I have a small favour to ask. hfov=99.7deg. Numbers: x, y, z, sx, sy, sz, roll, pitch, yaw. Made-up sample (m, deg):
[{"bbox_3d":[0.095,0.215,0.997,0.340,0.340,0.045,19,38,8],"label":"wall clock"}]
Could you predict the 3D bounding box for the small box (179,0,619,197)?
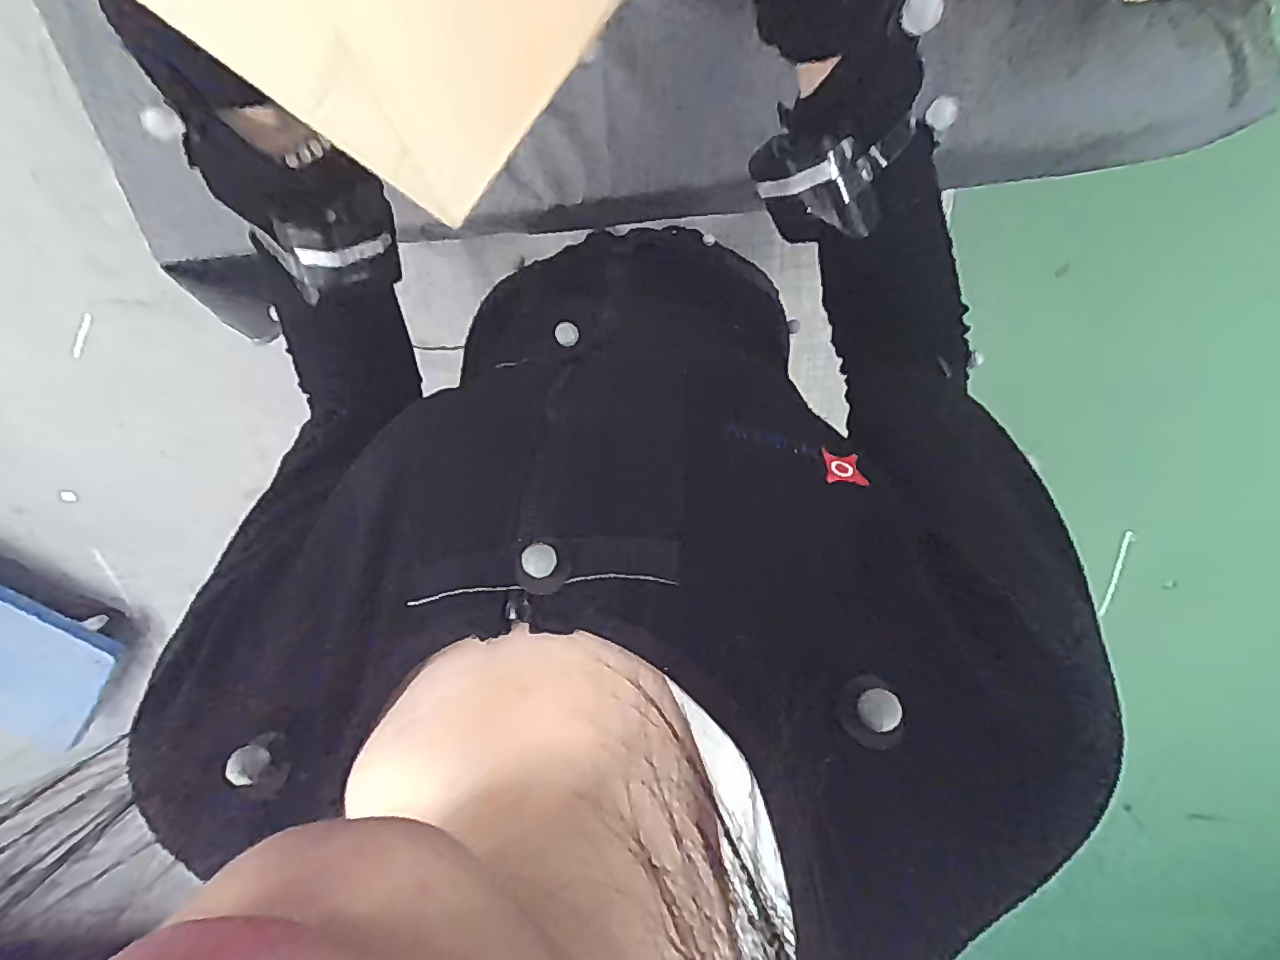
[{"bbox_3d":[-0.065,-0.223,0.142,0.179,0.176,0.168,30,137,-35],"label":"small box"}]
